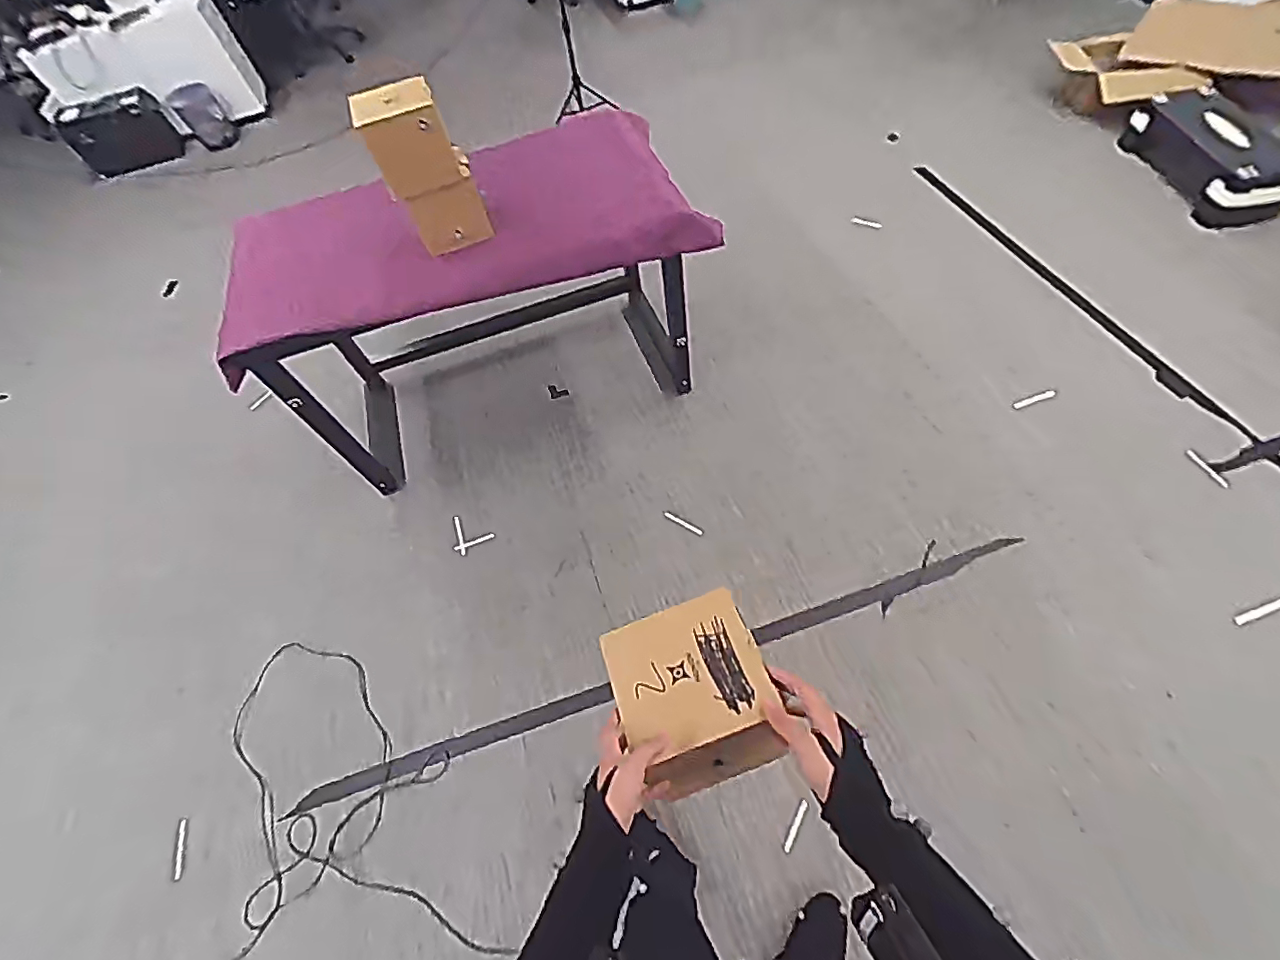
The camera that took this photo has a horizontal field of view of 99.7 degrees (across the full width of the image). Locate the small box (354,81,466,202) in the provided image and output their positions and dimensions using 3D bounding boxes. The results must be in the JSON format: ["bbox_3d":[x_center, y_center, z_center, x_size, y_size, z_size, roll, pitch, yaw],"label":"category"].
[{"bbox_3d":[-0.529,-0.778,1.252,0.179,0.176,0.168,-22,58,-6],"label":"small box"}]

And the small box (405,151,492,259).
[{"bbox_3d":[-0.495,-0.707,1.397,0.179,0.176,0.168,-21,57,-6],"label":"small box"}]
